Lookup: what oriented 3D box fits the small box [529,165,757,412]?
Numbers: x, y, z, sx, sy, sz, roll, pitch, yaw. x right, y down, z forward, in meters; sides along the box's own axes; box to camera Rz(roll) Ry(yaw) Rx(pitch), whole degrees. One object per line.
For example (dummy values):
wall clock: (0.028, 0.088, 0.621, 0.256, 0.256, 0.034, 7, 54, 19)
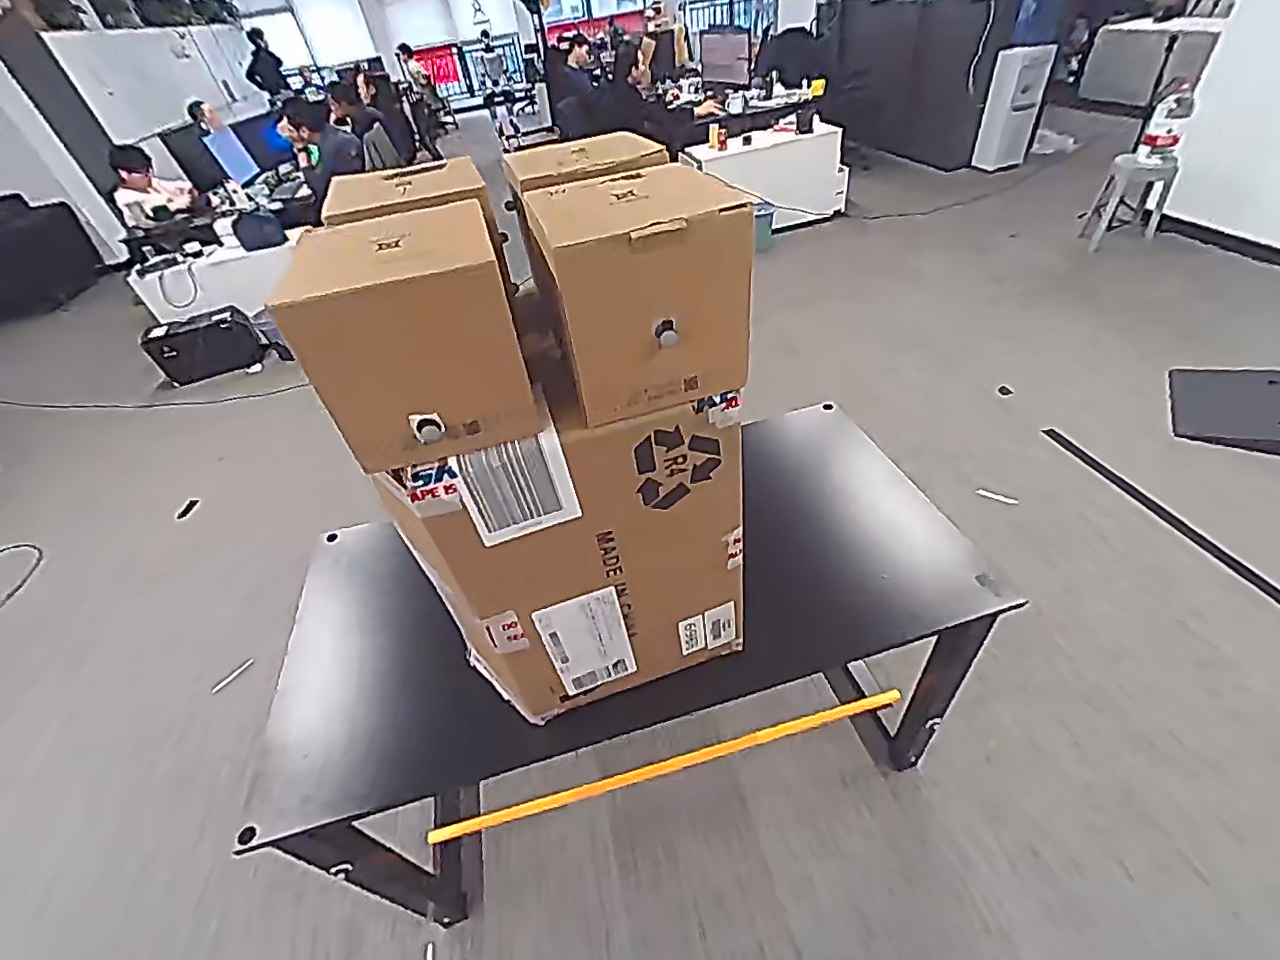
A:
small box: (0.000, -0.181, 0.526, 0.168, 0.176, 0.179, -15, 43, -9)
